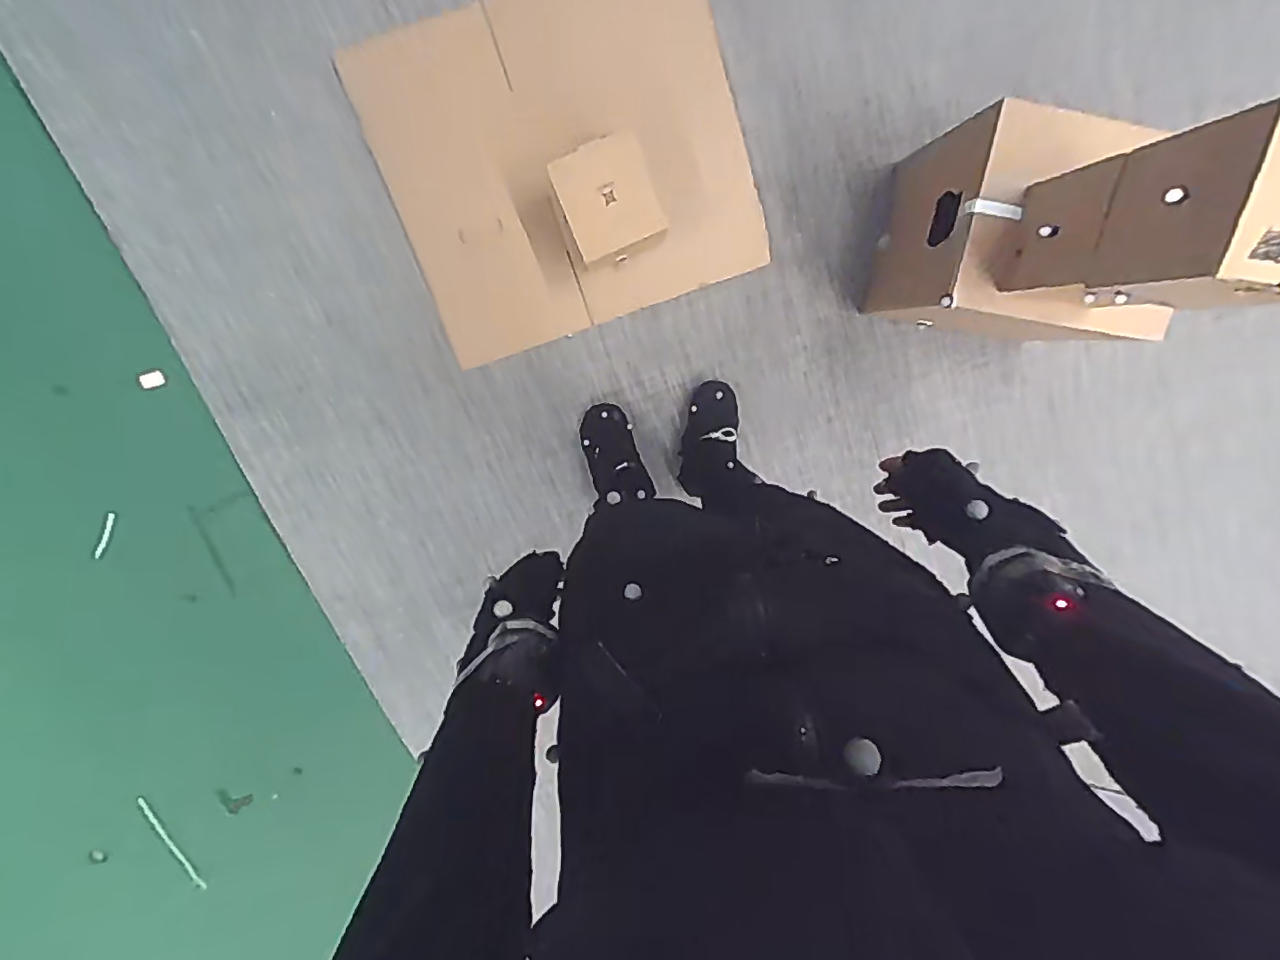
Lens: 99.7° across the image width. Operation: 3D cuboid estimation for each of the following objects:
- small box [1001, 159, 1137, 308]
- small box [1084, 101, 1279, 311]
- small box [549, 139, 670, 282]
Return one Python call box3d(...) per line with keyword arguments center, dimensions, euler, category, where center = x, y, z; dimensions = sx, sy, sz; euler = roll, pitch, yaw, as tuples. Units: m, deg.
box3d(center=(0.688, -0.355, 0.810), dimensions=(0.179, 0.176, 0.168), euler=(2, 102, -5), category="small box")
box3d(center=(0.693, -0.307, 0.650), dimensions=(0.168, 0.176, 0.179), euler=(8, 102, -6), category="small box")
box3d(center=(-0.054, -0.497, 1.026), dimensions=(0.168, 0.176, 0.179), euler=(-23, 104, 6), category="small box")
